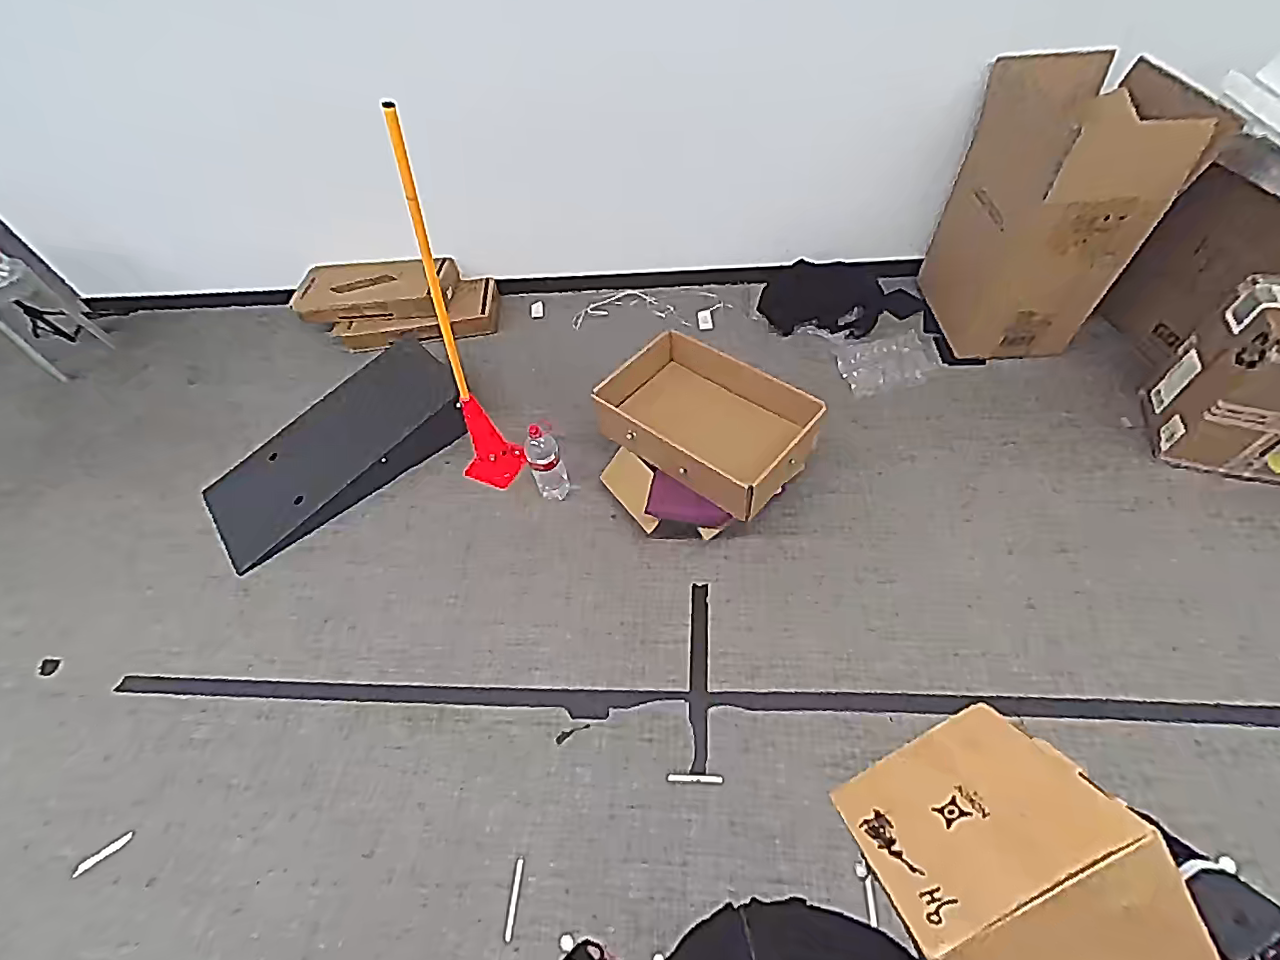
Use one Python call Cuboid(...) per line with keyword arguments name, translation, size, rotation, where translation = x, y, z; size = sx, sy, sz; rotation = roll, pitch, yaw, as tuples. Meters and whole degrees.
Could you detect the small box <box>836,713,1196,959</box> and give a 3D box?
Cuboid(name="small box", translation=(0.308, 0.347, 0.458), size=(0.179, 0.168, 0.176), rotation=(-30, 96, -1))
